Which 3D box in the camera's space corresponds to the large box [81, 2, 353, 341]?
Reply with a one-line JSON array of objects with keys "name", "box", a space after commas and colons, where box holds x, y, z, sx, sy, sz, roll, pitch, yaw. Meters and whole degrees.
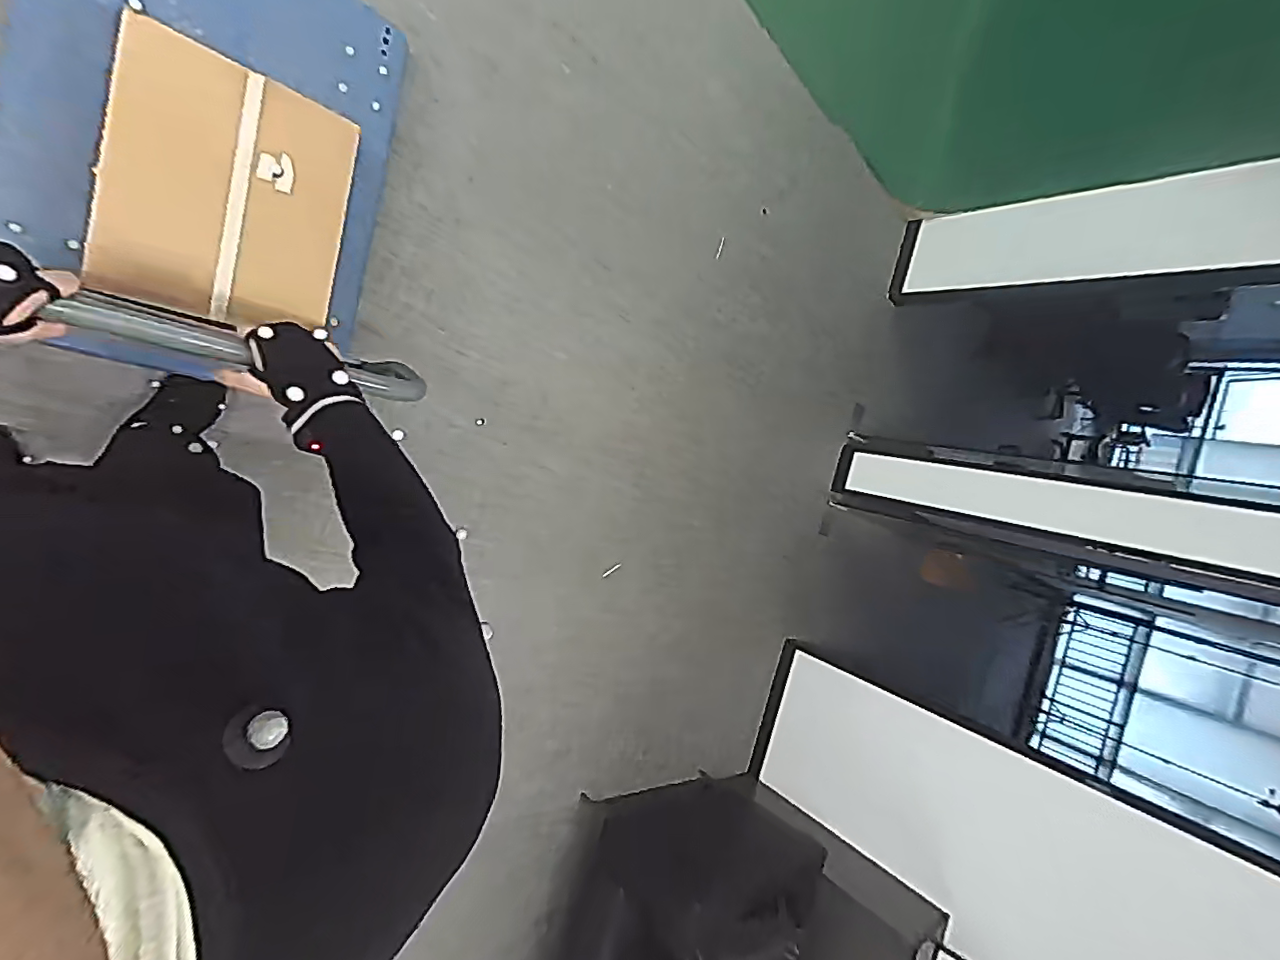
[{"name": "large box", "box": [-0.757, -0.491, 0.984, 0.320, 0.320, 0.408, 9, 94, -43]}]
